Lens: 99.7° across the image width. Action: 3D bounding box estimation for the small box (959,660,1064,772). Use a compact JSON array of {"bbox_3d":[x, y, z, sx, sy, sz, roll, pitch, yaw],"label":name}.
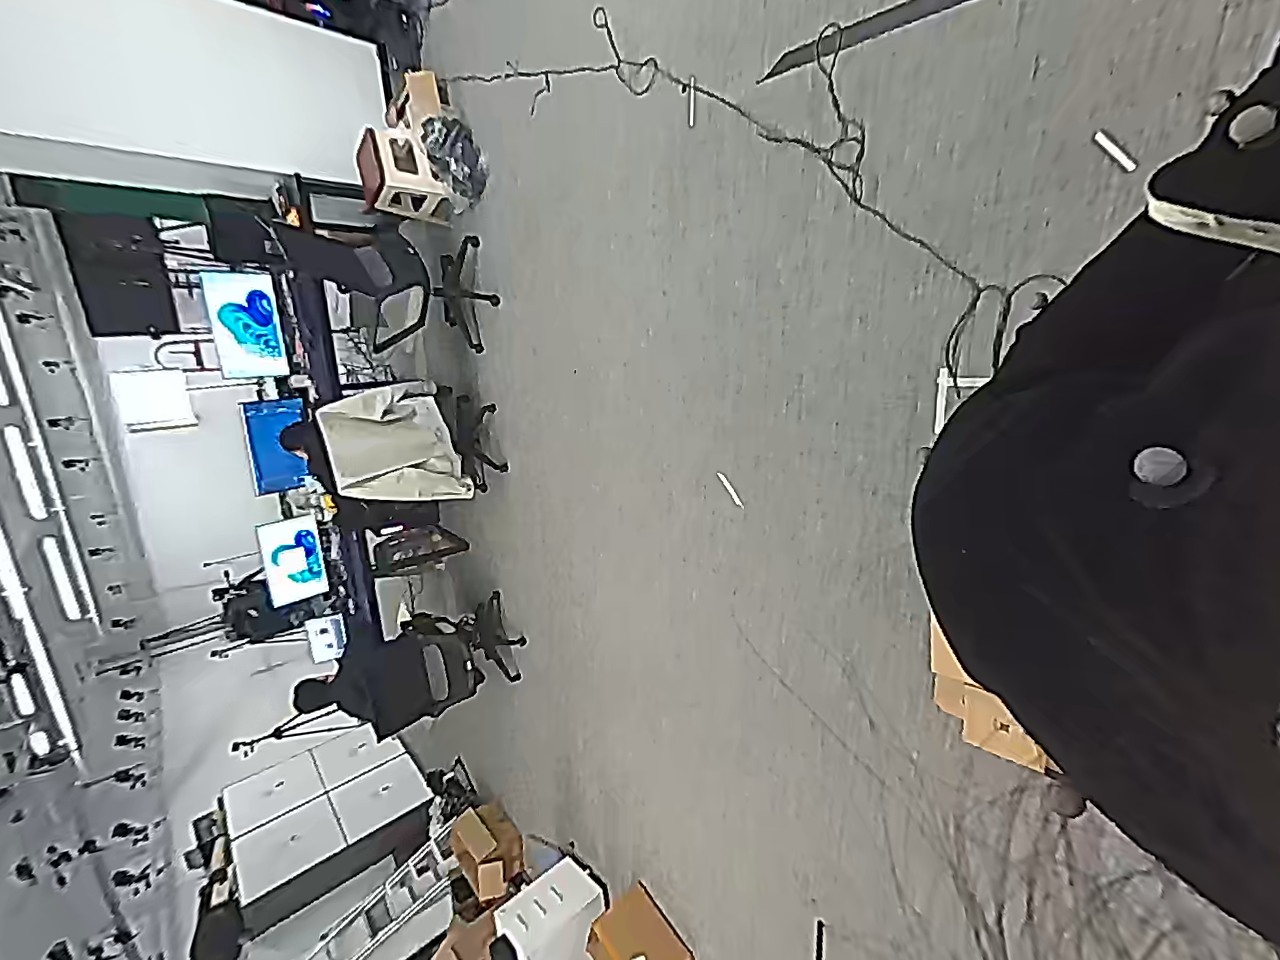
[{"bbox_3d":[0.919,0.572,1.342,0.179,0.176,0.168,8,108,47],"label":"small box"}]
